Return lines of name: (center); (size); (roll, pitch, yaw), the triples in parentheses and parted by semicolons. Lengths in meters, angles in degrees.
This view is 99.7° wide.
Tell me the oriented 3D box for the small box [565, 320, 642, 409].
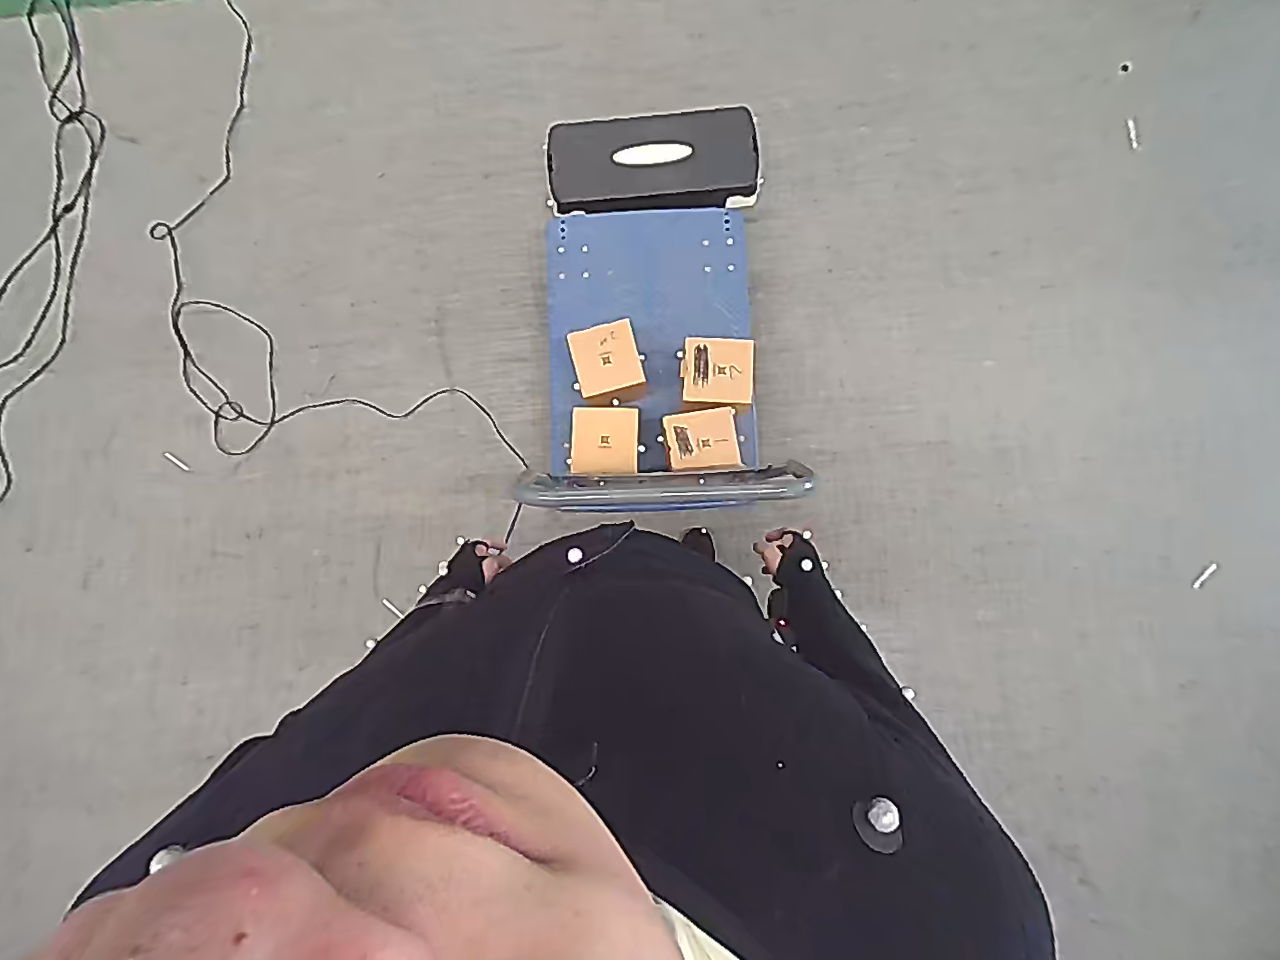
small box: (-0.091, -0.296, 1.439); (0.168, 0.176, 0.179); (-15, 84, -1)
